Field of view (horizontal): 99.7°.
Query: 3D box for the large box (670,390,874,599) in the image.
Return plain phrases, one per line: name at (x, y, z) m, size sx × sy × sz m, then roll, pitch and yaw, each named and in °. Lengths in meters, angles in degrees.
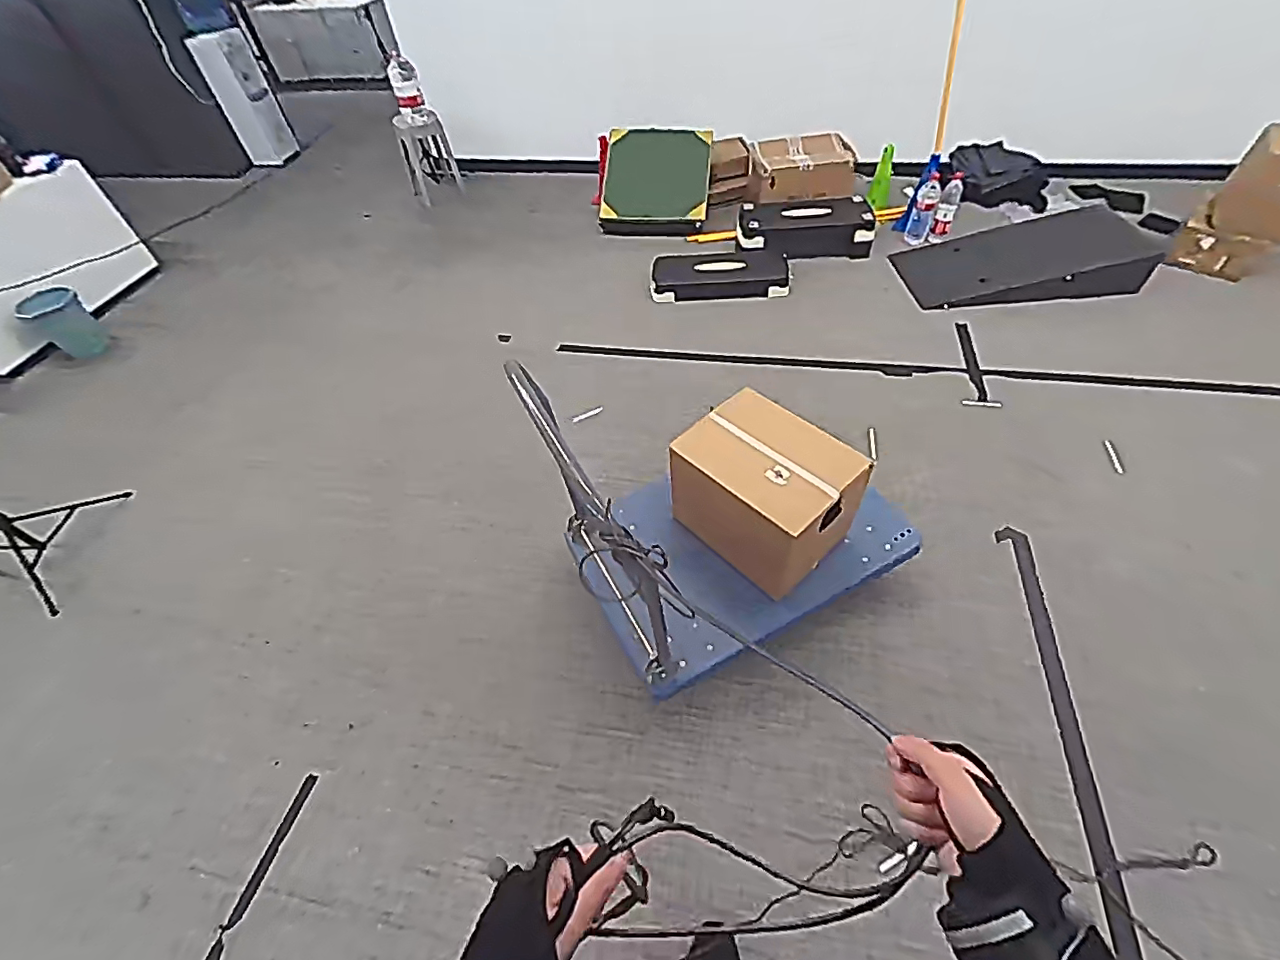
large box at (0.325, 0.032, 1.447) m, size 0.320 × 0.320 × 0.408 m, roll -38°, pitch 58°, yaw -22°
